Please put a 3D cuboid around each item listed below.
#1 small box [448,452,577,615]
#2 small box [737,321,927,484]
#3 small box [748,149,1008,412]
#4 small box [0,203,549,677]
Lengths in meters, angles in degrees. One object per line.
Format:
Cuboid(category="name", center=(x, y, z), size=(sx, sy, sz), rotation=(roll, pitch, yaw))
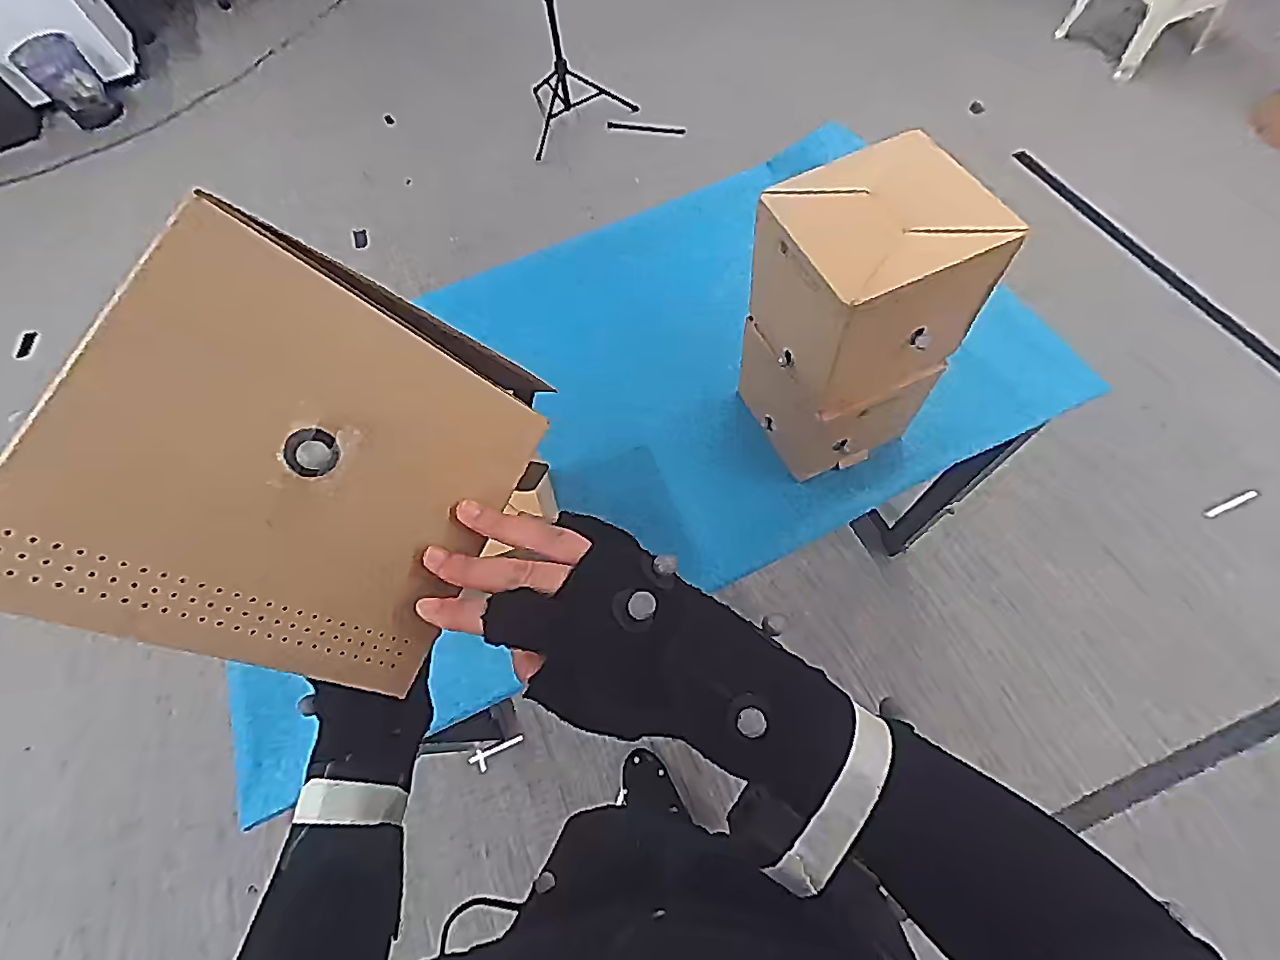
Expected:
Cuboid(category="small box", center=(-0.192, 0.044, 0.671), size=(0.168, 0.176, 0.179), rotation=(-19, 66, -4))
Cuboid(category="small box", center=(0.243, -0.130, 0.712), size=(0.168, 0.176, 0.179), rotation=(-24, 65, -6))
Cuboid(category="small box", center=(0.231, -0.207, 0.567), size=(0.179, 0.176, 0.168), rotation=(-23, 63, -3))
Cuboid(category="small box", center=(-0.190, -0.010, 0.307), size=(0.168, 0.179, 0.176), rotation=(14, 76, 52))
